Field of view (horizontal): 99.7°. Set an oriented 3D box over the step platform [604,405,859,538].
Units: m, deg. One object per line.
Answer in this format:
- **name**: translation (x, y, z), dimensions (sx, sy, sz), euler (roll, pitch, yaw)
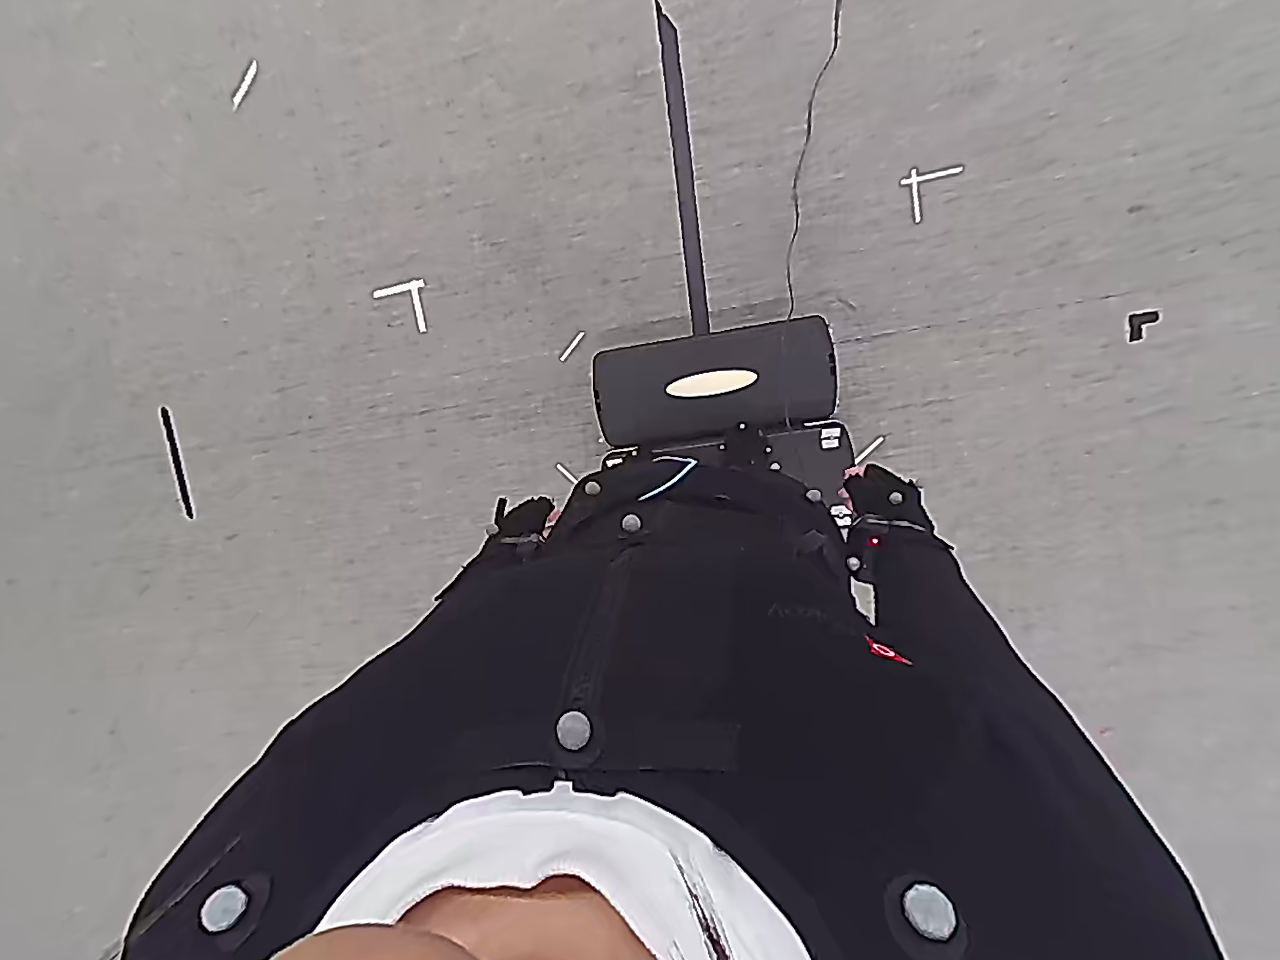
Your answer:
- **step platform**: translation (0.244, -0.019, 1.510), dimensions (0.684, 0.204, 0.286), euler (-8, 95, 10)
